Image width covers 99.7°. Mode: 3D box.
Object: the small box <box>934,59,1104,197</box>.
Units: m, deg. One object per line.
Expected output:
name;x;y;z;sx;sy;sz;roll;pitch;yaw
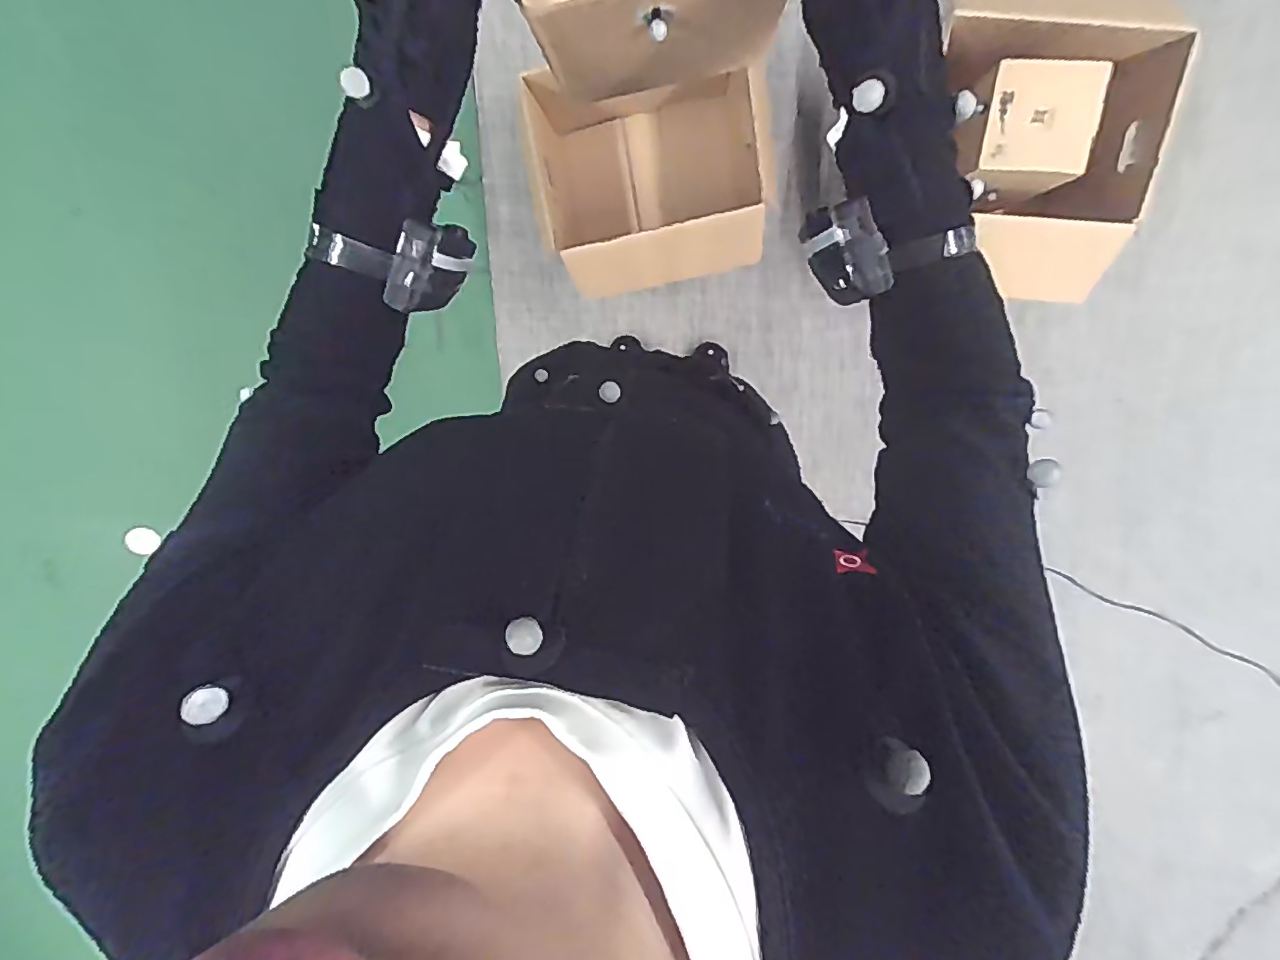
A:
small box;0.678;-0.631;0.989;0.179;0.176;0.168;5;104;4
